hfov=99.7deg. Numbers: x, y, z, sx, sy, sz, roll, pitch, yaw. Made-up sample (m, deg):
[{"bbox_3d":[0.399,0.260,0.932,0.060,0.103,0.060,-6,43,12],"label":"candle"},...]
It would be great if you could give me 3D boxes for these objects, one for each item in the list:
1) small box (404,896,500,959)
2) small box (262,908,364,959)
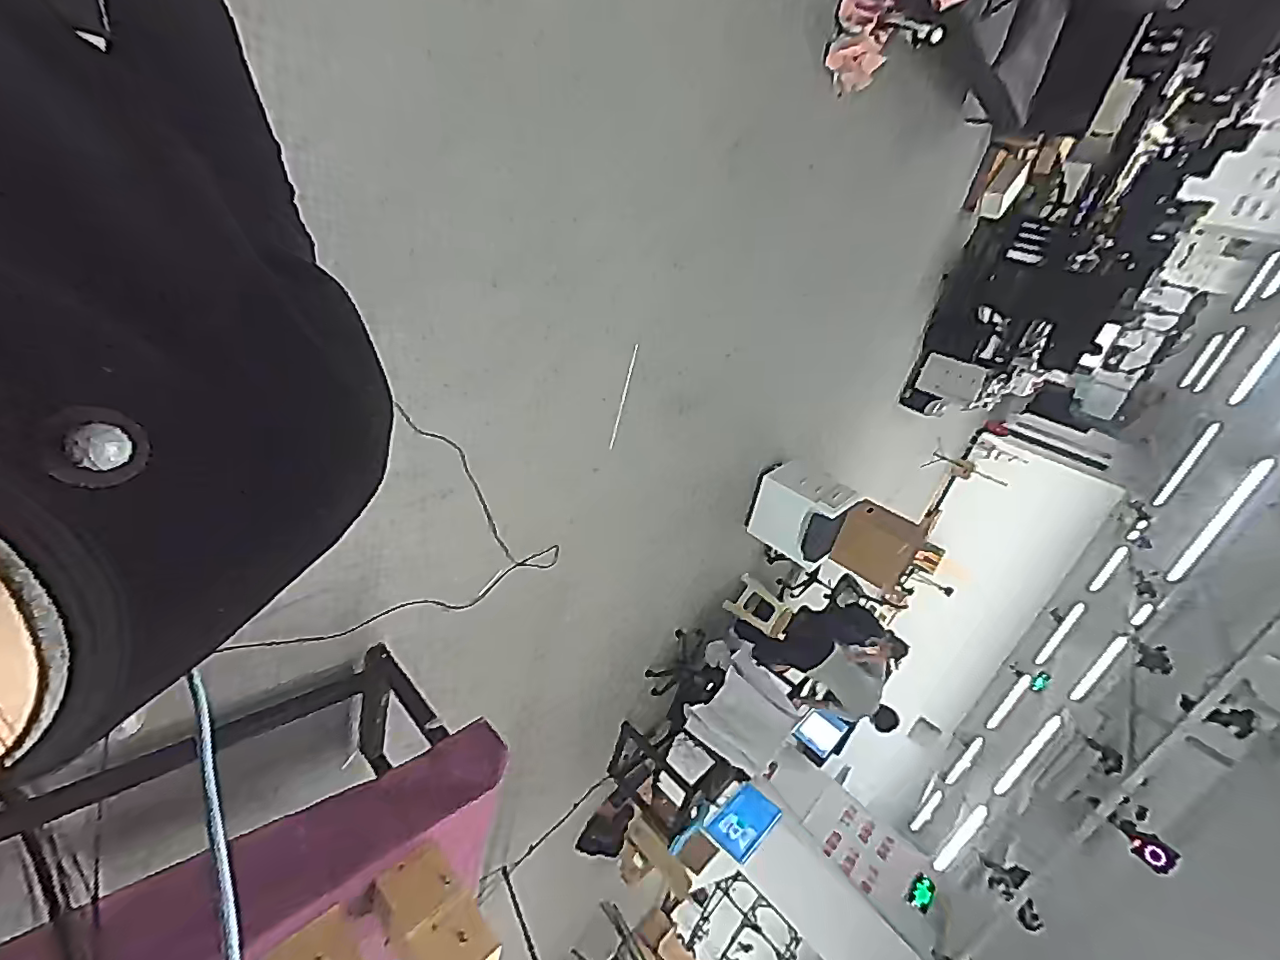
[{"bbox_3d":[-0.478,1.206,1.362,0.168,0.176,0.179,-16,131,-45],"label":"small box"},{"bbox_3d":[-0.762,1.161,1.257,0.179,0.176,0.168,-13,128,-47],"label":"small box"}]
